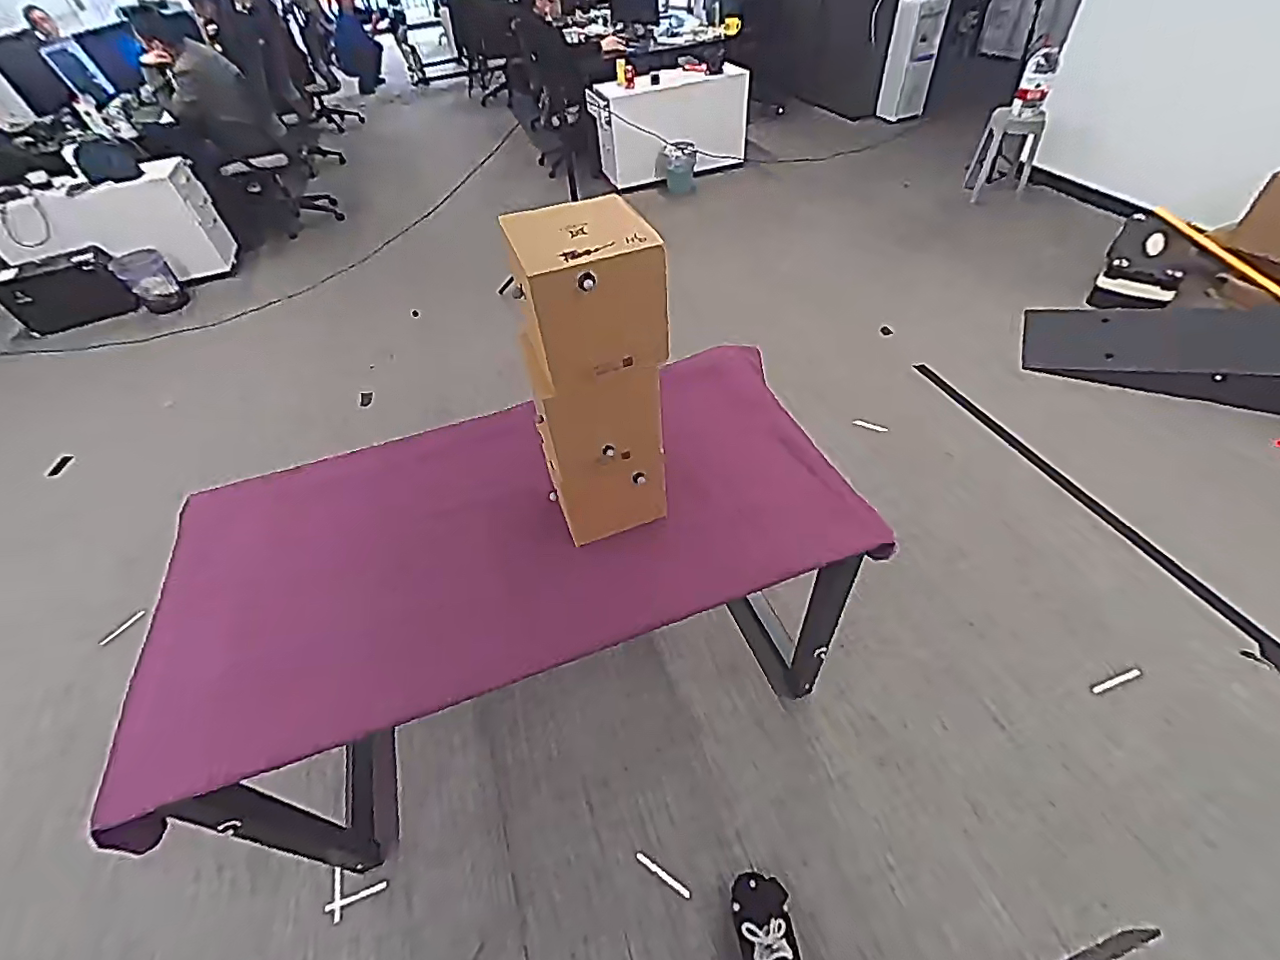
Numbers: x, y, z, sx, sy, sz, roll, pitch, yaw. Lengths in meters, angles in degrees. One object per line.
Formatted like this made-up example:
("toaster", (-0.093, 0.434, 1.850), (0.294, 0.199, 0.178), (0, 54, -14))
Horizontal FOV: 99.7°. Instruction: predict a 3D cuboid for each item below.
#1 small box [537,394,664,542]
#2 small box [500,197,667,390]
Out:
("small box", (-0.065, -0.020, 0.954), (0.179, 0.176, 0.168), (-19, 48, -10))
("small box", (-0.072, -0.247, 0.717), (0.168, 0.176, 0.179), (-19, 48, -11))
